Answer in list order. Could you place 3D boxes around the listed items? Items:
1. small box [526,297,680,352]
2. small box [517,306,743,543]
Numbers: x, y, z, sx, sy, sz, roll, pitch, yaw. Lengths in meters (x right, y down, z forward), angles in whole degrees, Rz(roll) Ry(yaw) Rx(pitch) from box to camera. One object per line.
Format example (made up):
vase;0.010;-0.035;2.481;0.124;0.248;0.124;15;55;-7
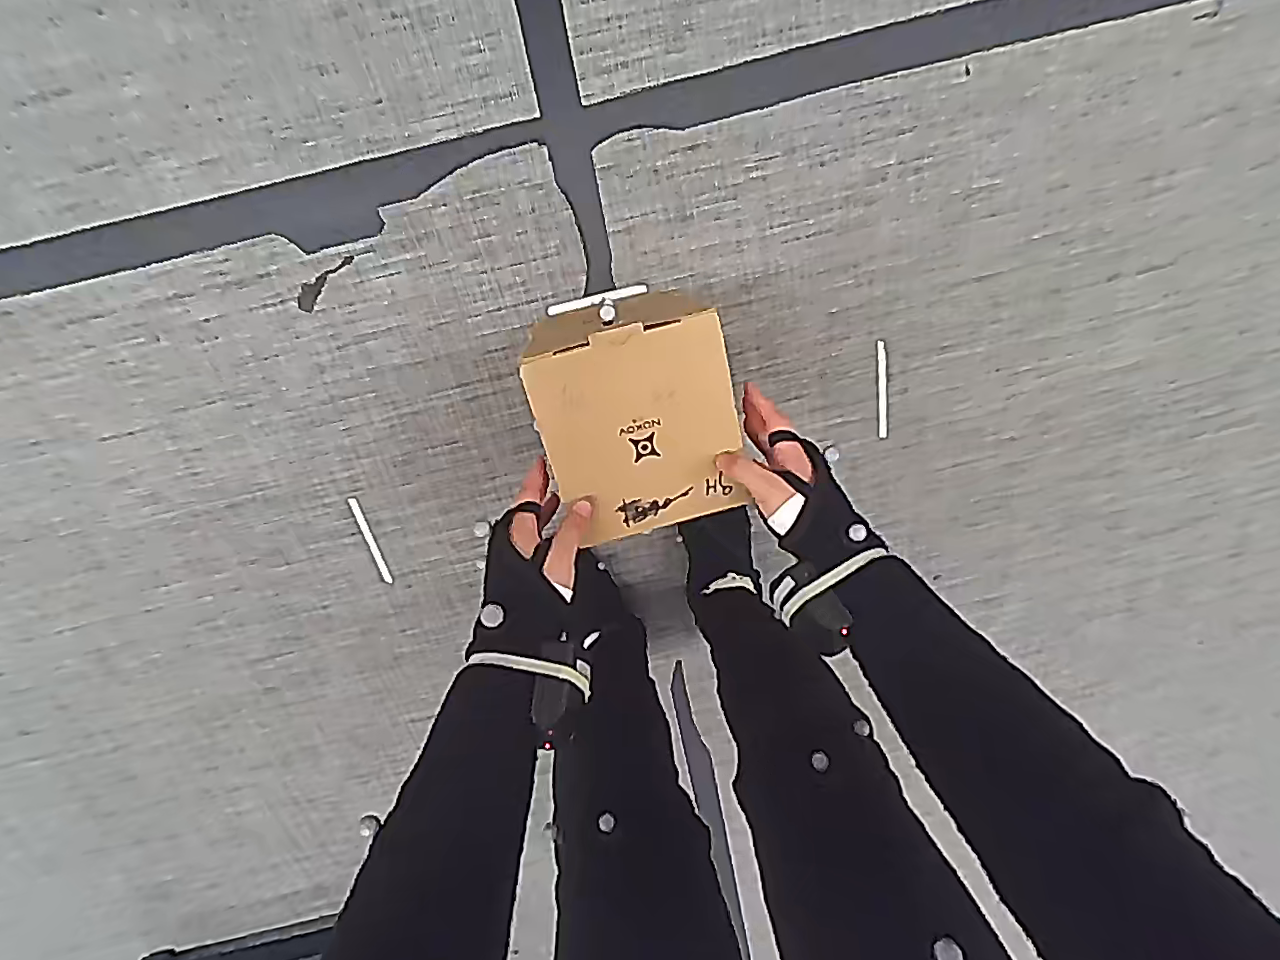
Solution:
small box;-0.032;-0.130;0.687;0.179;0.176;0.168;-14;112;0
small box;-0.012;-0.068;0.537;0.168;0.176;0.179;-15;113;0
